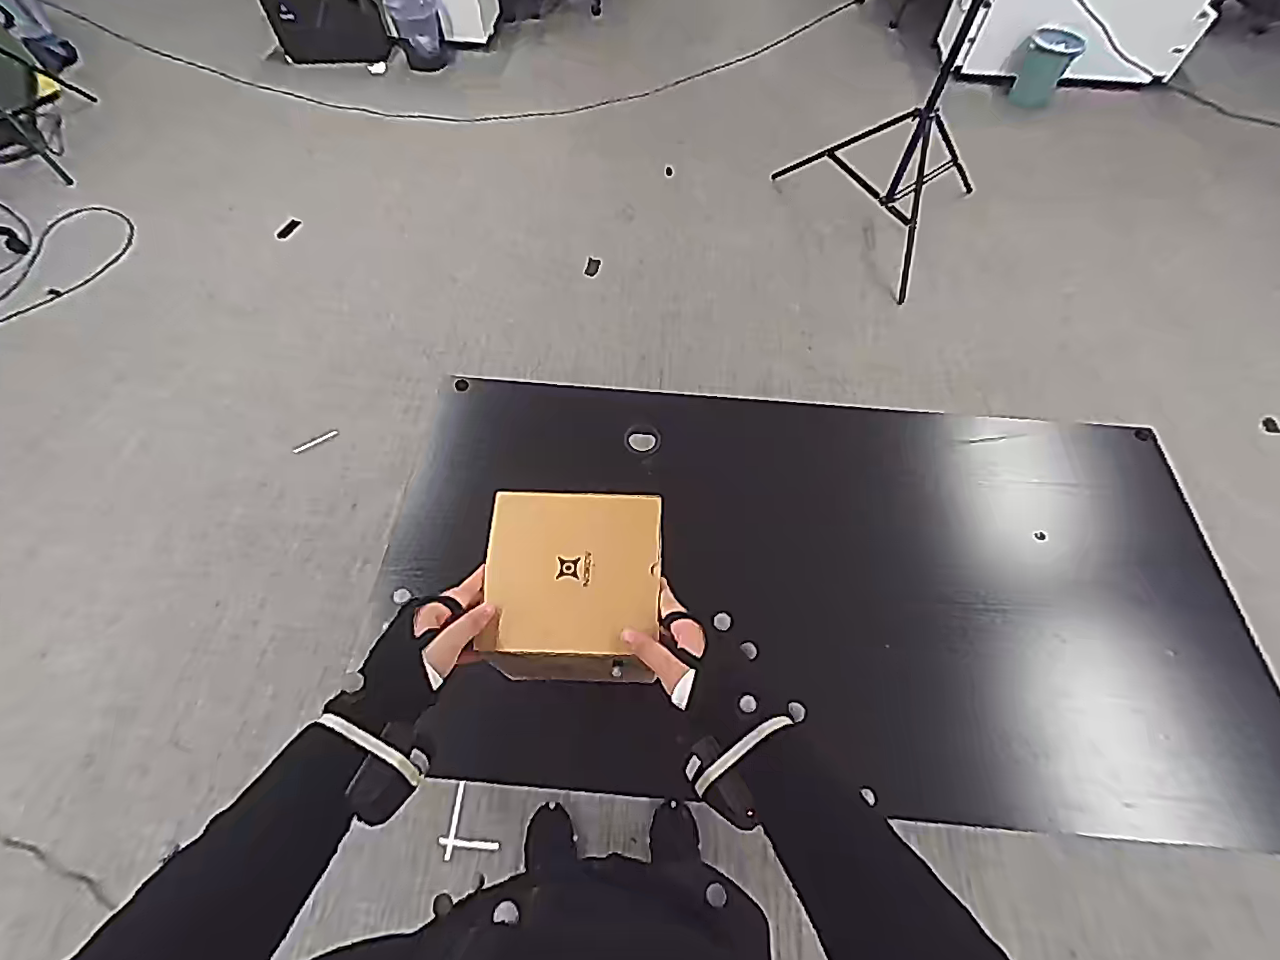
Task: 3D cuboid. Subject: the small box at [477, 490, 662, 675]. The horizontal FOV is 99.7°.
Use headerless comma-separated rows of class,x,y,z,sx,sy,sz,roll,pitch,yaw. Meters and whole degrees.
small box,-0.065,0.122,0.607,0.179,0.176,0.168,1,63,-1
